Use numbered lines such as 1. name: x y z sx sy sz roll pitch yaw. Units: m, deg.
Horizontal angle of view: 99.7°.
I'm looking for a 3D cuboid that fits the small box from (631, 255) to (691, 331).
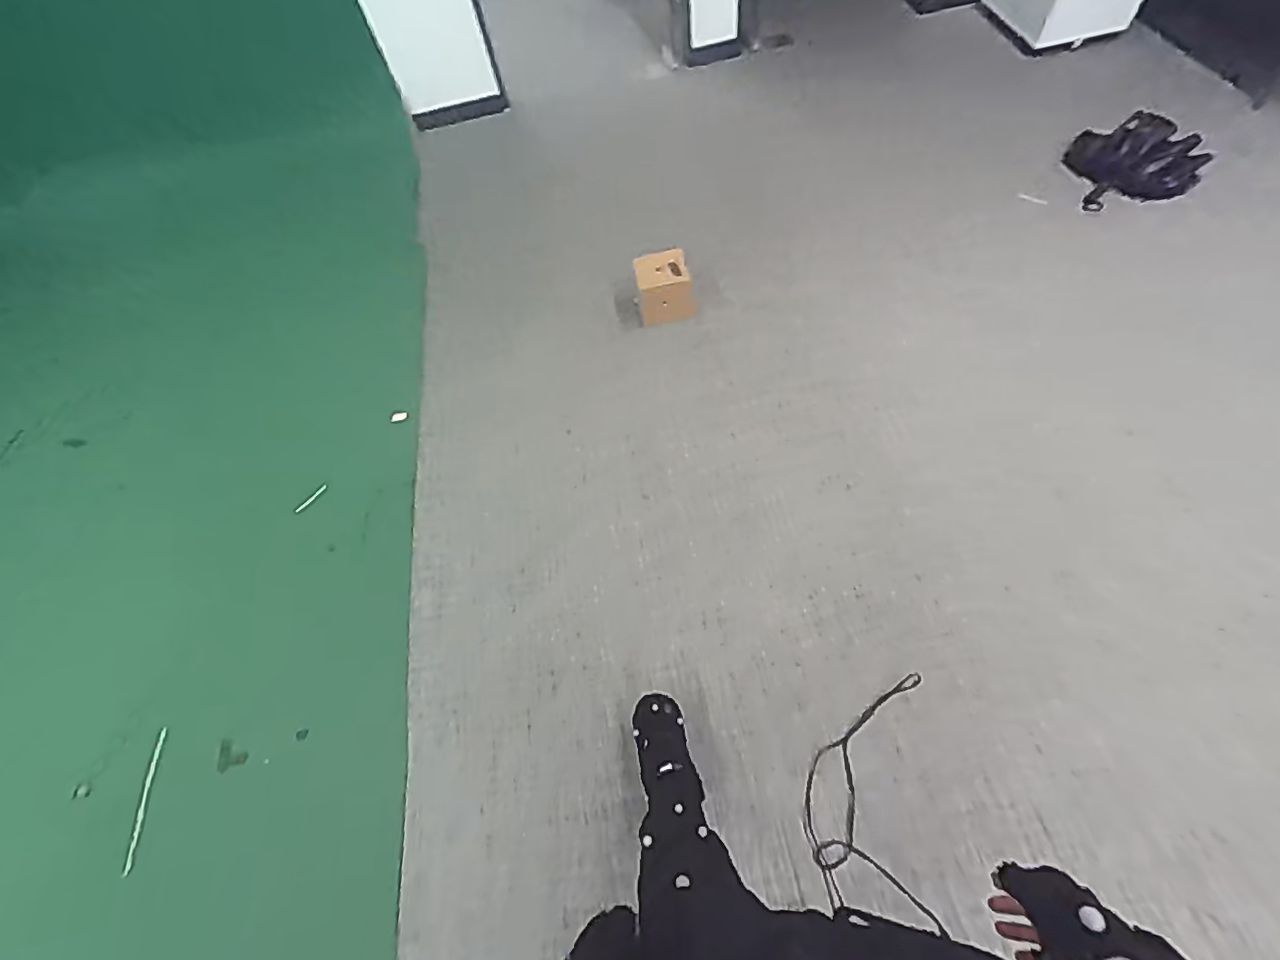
1. small box: 0.075 -0.643 1.871 0.179 0.176 0.168 -13 60 0
